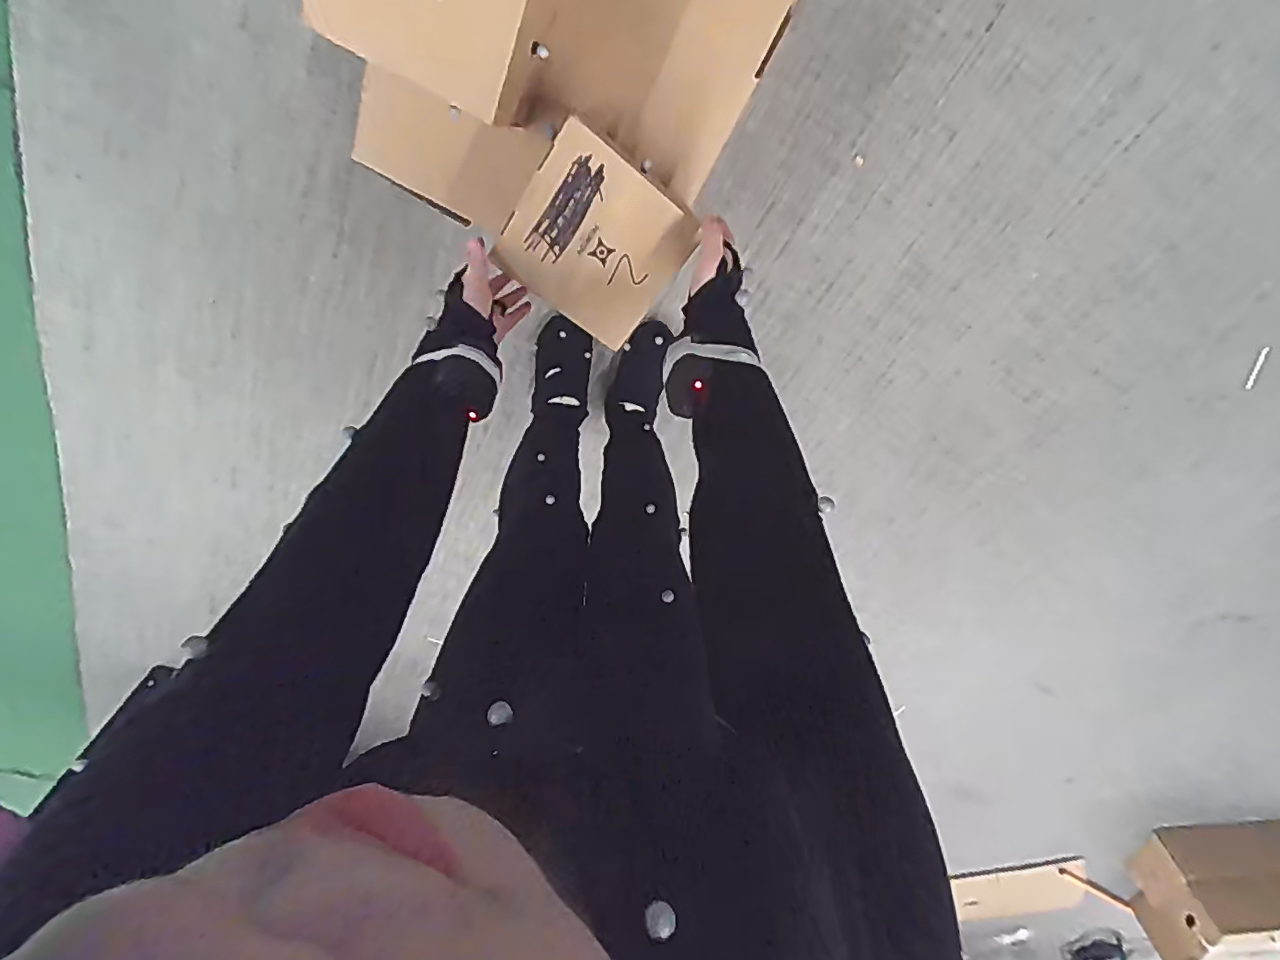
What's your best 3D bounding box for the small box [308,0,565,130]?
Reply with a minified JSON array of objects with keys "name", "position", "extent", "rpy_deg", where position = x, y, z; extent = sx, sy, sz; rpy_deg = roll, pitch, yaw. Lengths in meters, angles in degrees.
[{"name":"small box","position":[-0.177,-0.470,0.520],"extent":[0.179,0.176,0.168],"rpy_deg":[22,120,-14]}]
